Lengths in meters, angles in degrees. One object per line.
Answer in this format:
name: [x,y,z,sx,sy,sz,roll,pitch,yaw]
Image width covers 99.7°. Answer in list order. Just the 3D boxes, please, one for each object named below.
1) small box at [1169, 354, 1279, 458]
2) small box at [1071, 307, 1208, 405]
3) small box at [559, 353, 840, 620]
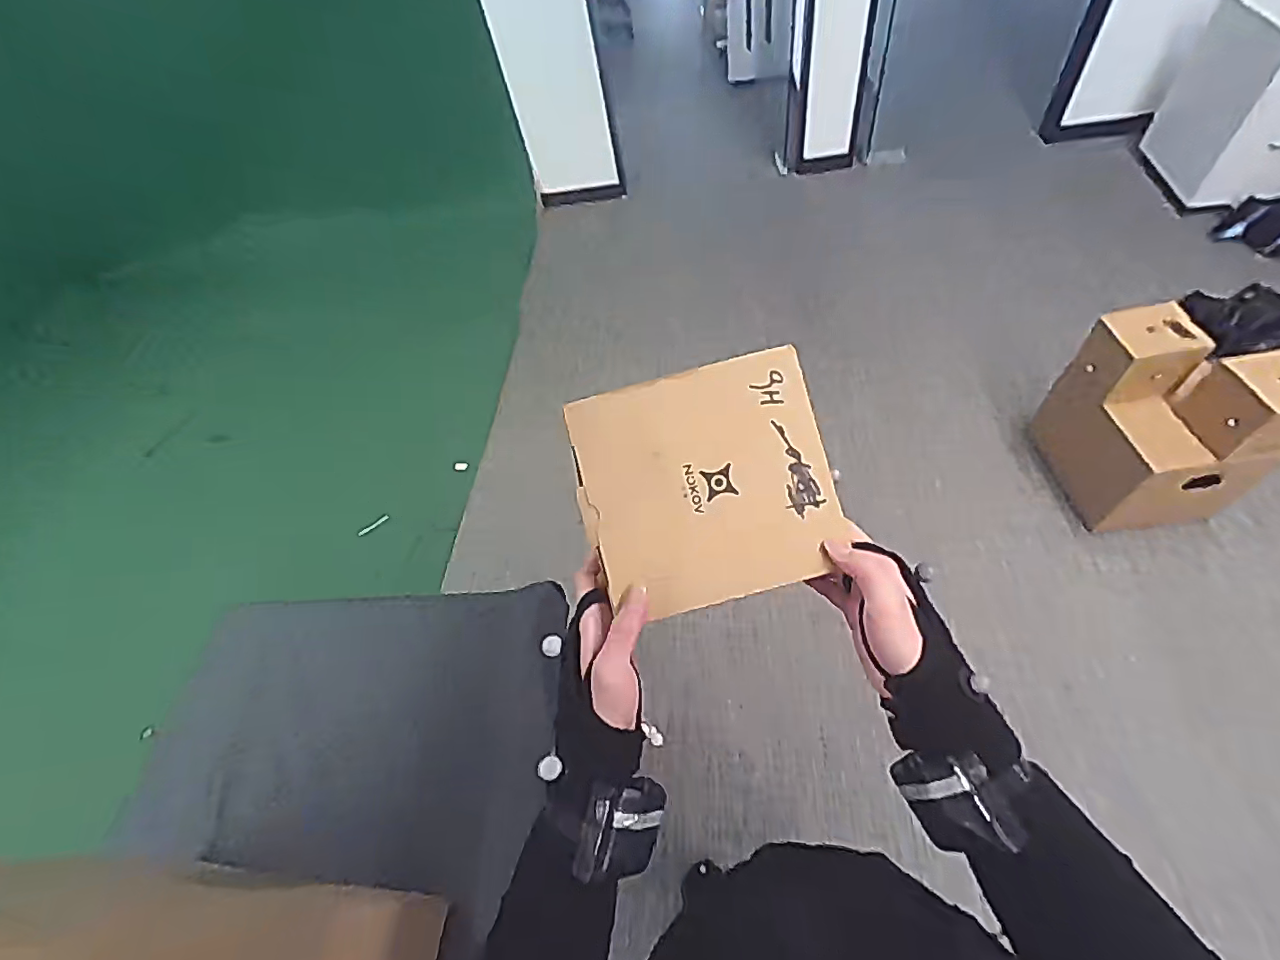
small box: [1.432,-0.166,1.272,0.168,0.176,0.179,-8,53,1]
small box: [1.284,-0.317,1.408,0.179,0.176,0.168,-9,54,9]
small box: [0.044,0.011,0.468,0.179,0.176,0.168,-13,85,1]
